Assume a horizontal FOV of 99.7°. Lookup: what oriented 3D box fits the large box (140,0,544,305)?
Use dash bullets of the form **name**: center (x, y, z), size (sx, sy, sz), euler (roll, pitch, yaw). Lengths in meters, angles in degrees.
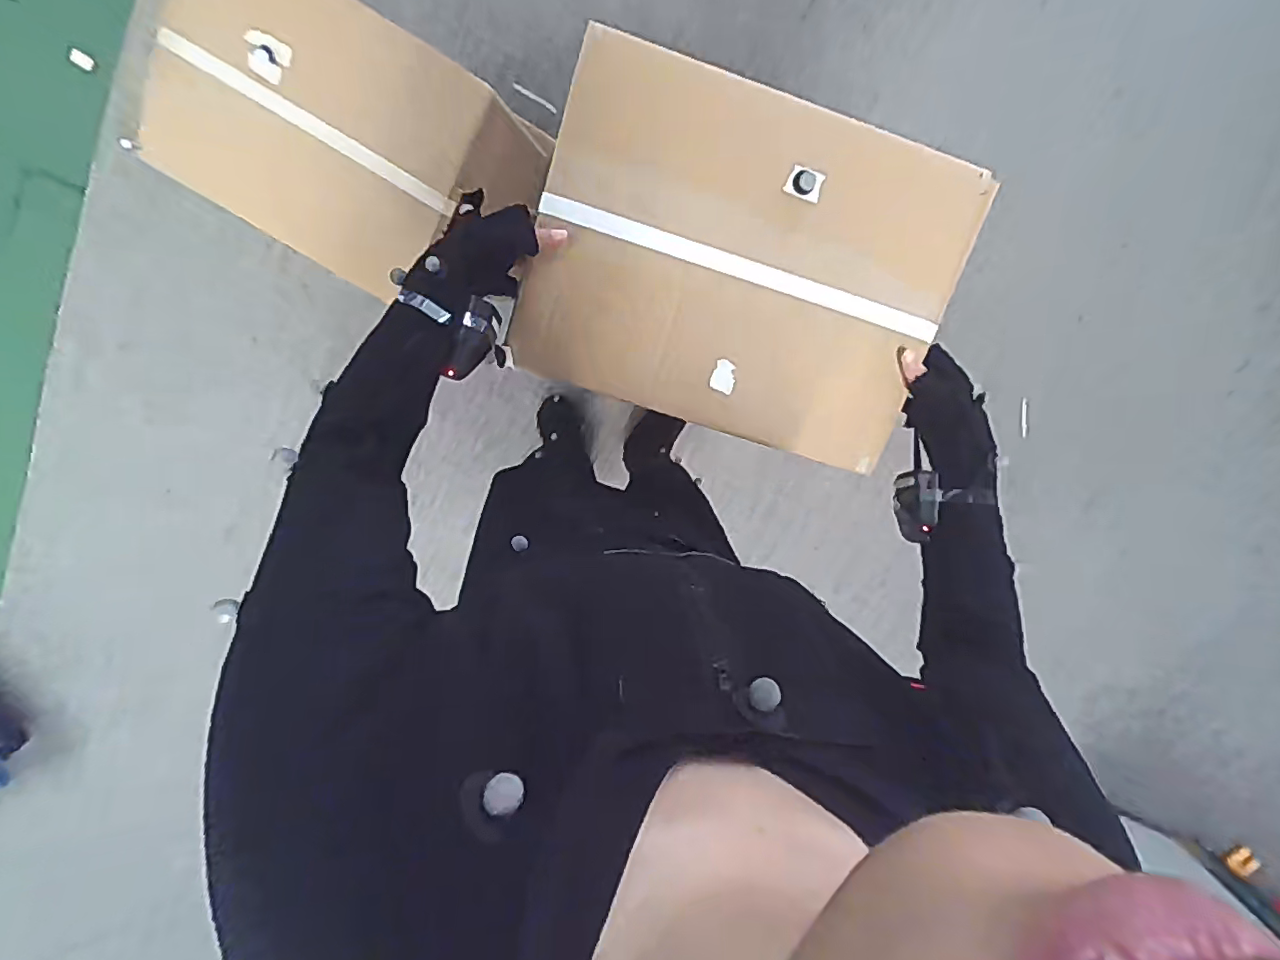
- **large box**: center (-0.421, -0.511, 0.844), size (0.408, 0.320, 0.320), euler (31, 107, -5)
